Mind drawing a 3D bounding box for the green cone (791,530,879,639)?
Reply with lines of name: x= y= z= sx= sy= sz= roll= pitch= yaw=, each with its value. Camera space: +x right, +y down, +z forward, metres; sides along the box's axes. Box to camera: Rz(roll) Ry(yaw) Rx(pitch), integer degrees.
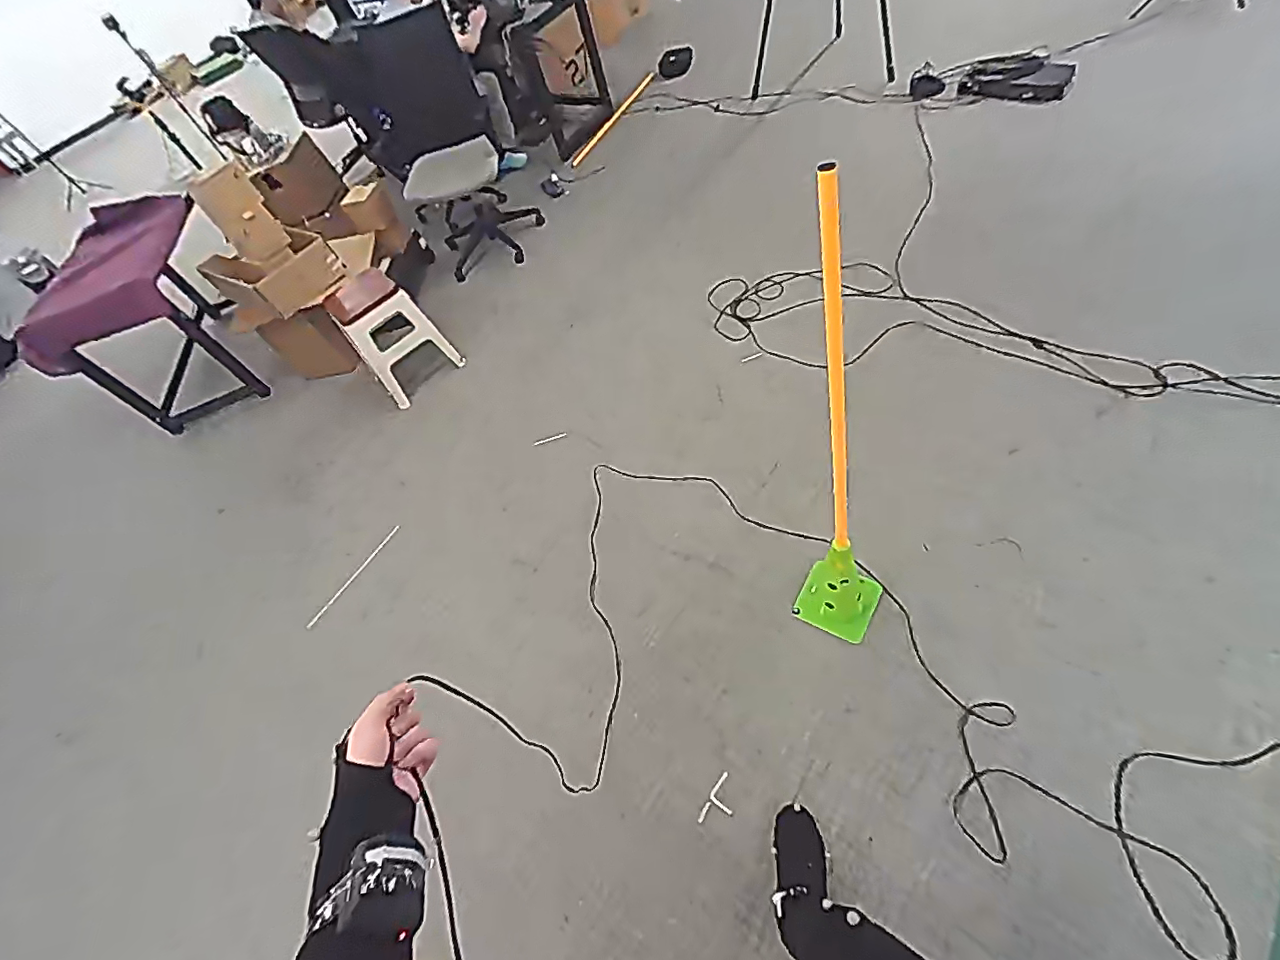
green cone: x=0.519 y=0.241 z=1.421 sx=0.200 sy=0.368 sz=0.202 roll=21 pitch=64 yaw=28
